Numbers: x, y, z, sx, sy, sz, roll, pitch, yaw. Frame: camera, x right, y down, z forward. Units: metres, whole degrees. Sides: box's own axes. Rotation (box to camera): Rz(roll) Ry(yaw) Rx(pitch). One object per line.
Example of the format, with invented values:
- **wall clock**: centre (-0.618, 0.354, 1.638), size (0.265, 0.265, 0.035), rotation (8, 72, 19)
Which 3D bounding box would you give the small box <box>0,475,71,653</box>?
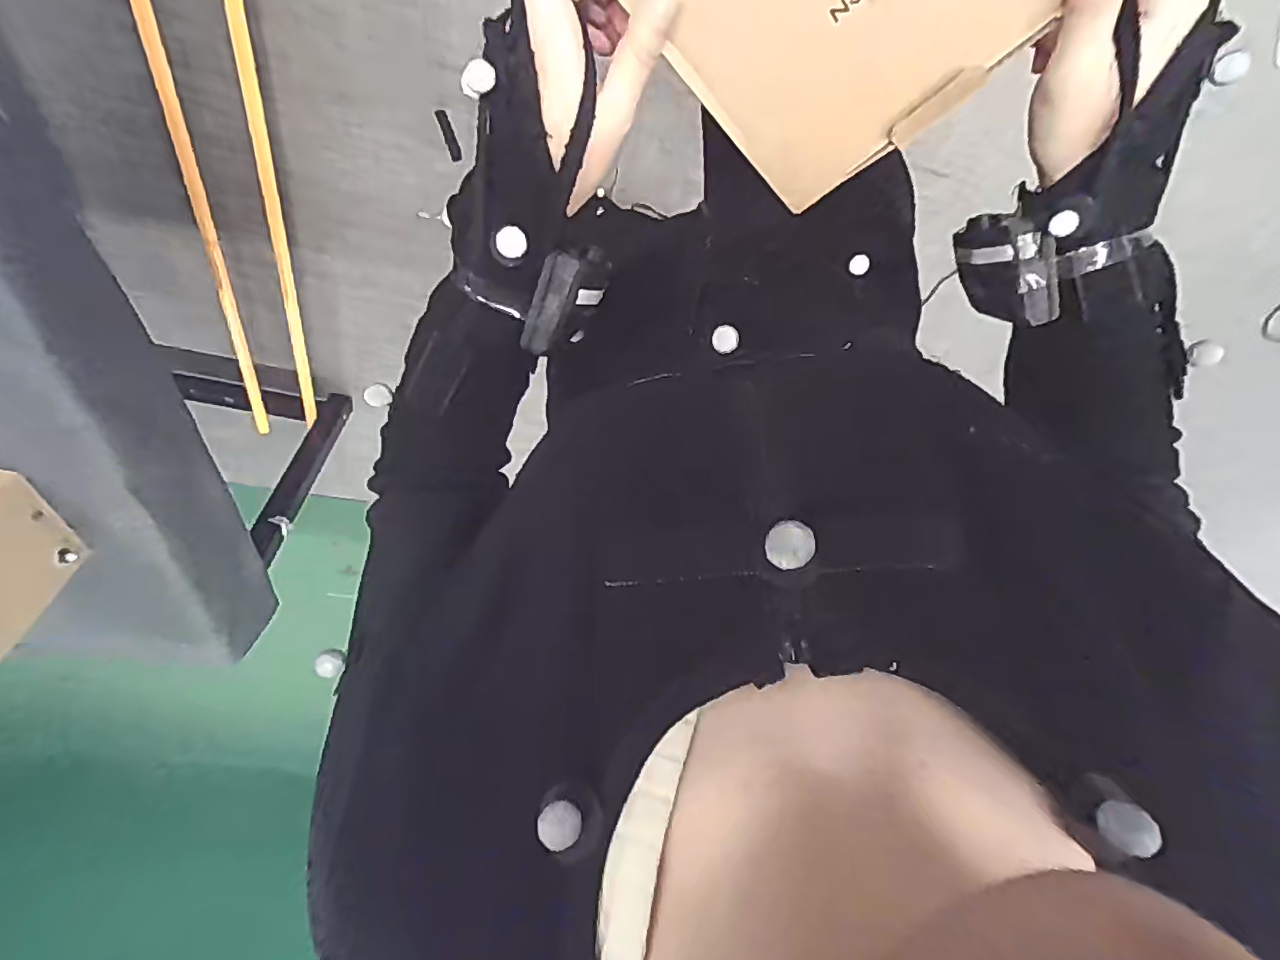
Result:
- **small box**: centre (-0.828, 0.089, 0.620), size (0.179, 0.176, 0.168), rotation (9, 136, -8)
